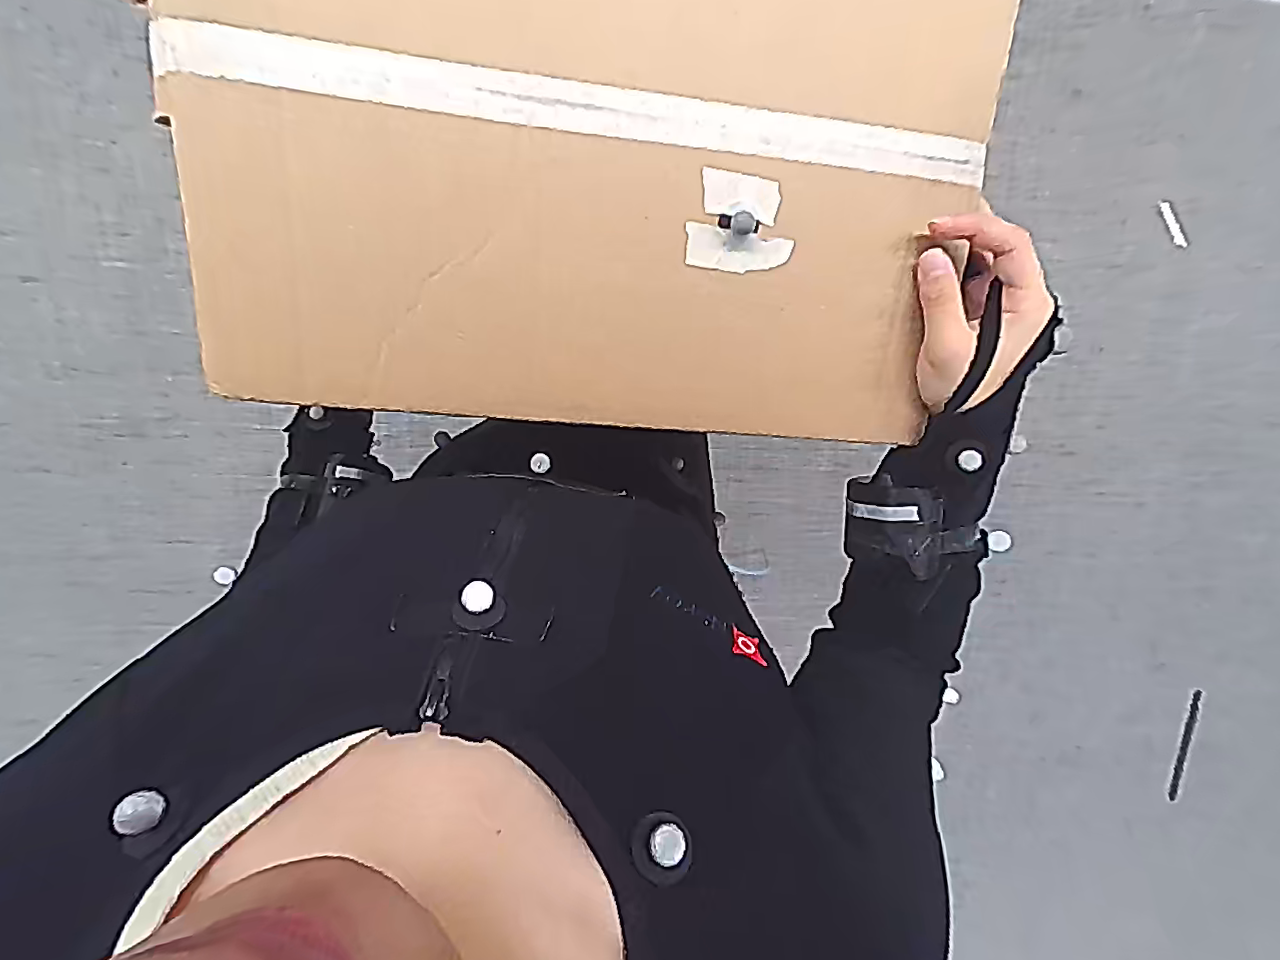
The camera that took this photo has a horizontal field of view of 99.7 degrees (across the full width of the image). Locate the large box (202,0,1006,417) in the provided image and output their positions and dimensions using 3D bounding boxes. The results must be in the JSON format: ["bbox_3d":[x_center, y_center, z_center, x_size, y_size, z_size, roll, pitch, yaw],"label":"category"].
[{"bbox_3d":[-0.029,-0.231,0.421,0.408,0.320,0.320,3,105,-10],"label":"large box"}]
